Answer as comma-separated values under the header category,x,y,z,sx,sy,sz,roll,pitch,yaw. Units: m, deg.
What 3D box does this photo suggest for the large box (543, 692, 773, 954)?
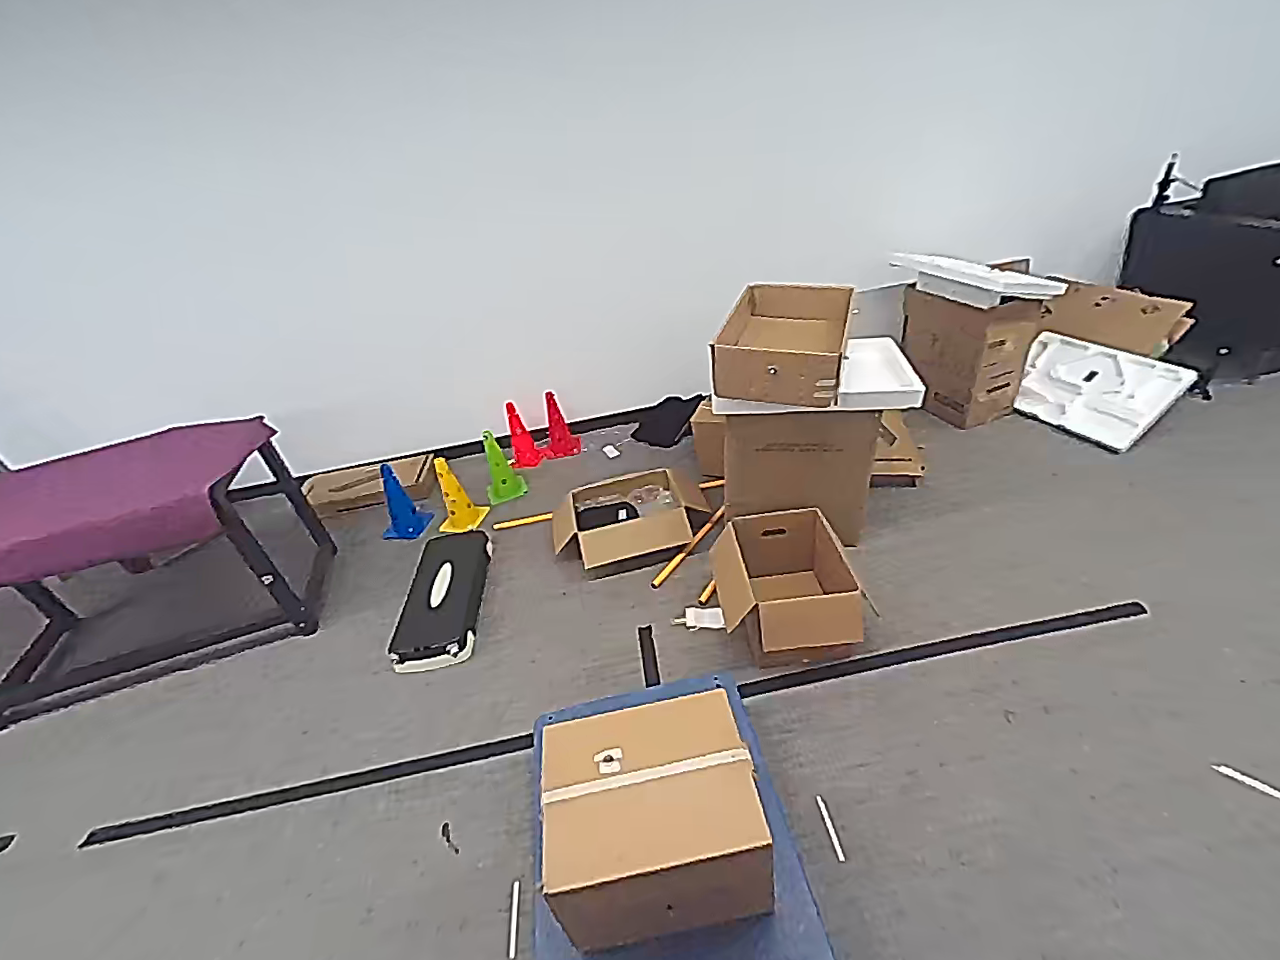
category,x,y,z,sx,sy,sz,roll,pitch,yaw
large box,0.033,0.710,1.134,0.408,0.320,0.320,-13,33,-2
